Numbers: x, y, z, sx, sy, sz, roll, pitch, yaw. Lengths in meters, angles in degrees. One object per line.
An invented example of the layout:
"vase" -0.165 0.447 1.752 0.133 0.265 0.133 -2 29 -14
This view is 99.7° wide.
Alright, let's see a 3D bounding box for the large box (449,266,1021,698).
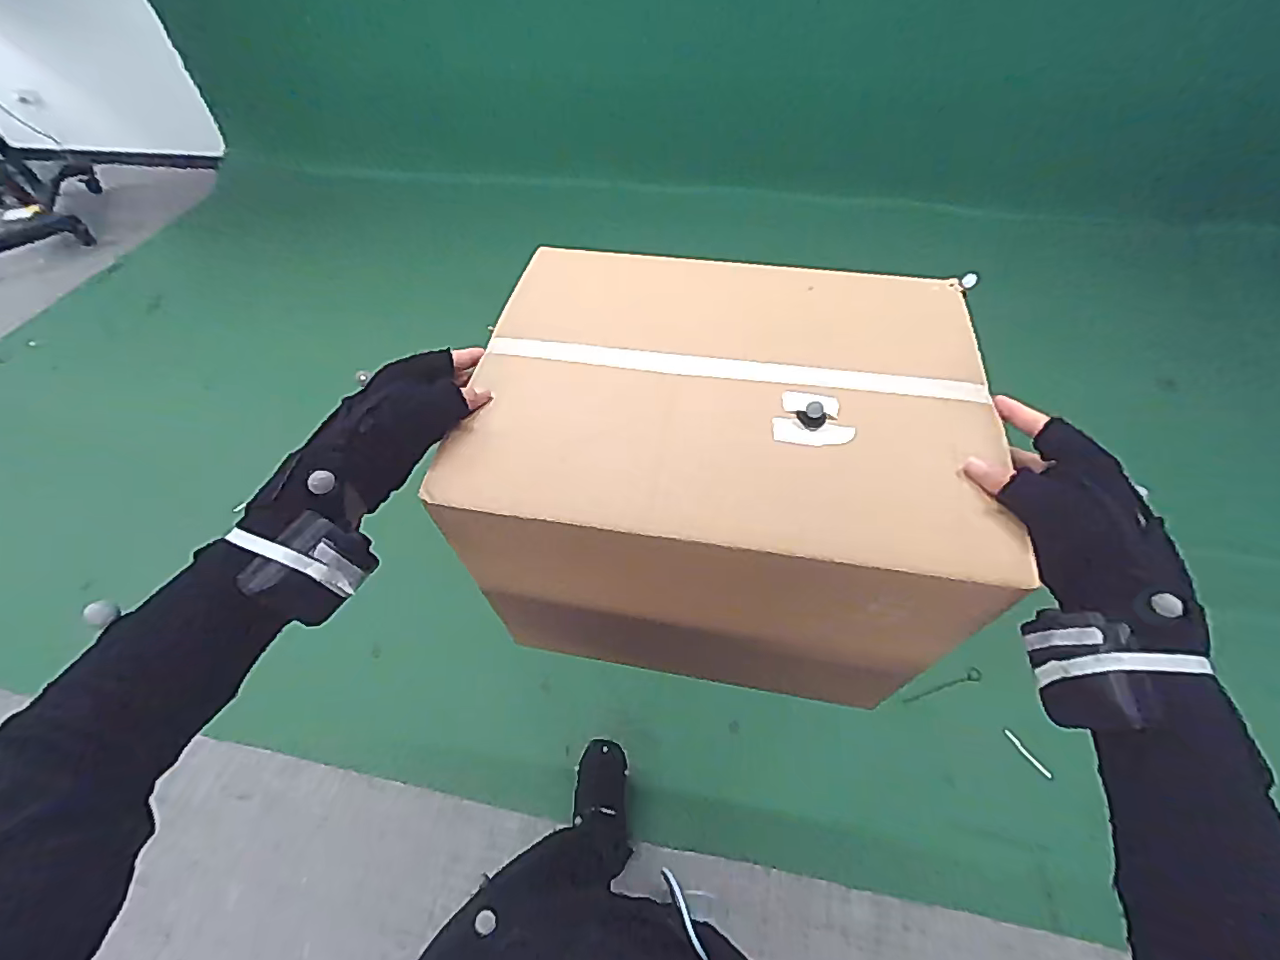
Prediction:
"large box" 0.078 0.009 0.576 0.408 0.320 0.320 8 55 6
